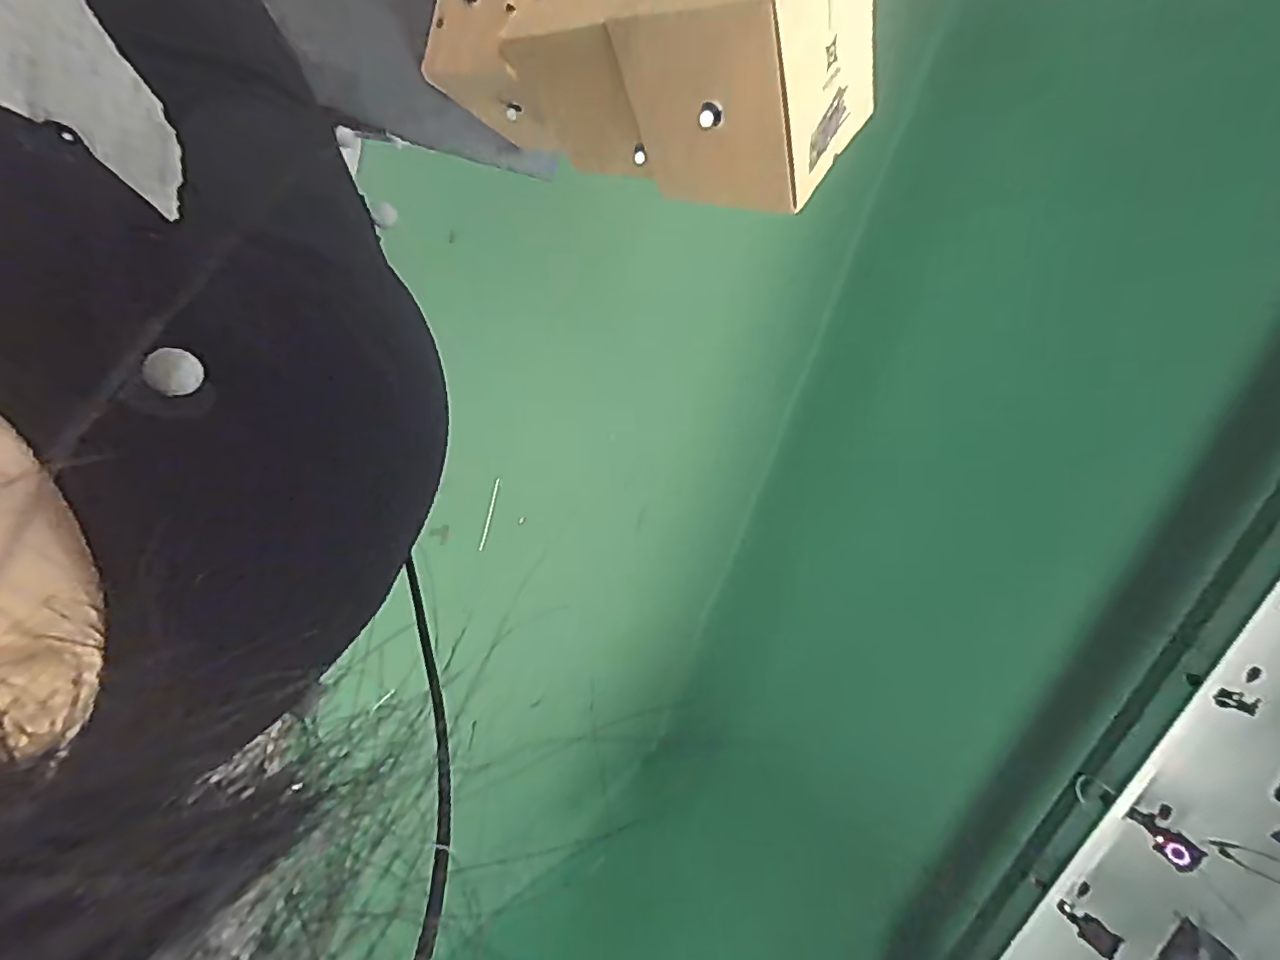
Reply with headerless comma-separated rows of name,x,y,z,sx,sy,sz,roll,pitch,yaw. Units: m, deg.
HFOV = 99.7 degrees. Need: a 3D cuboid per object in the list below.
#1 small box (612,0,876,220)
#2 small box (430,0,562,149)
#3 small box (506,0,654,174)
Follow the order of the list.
small box,0.104,-0.384,0.515,0.168,0.176,0.179,-54,145,-16
small box,-0.134,-0.540,0.682,0.179,0.176,0.168,4,108,-54
small box,-0.013,-0.466,0.600,0.168,0.176,0.179,-60,147,-7
